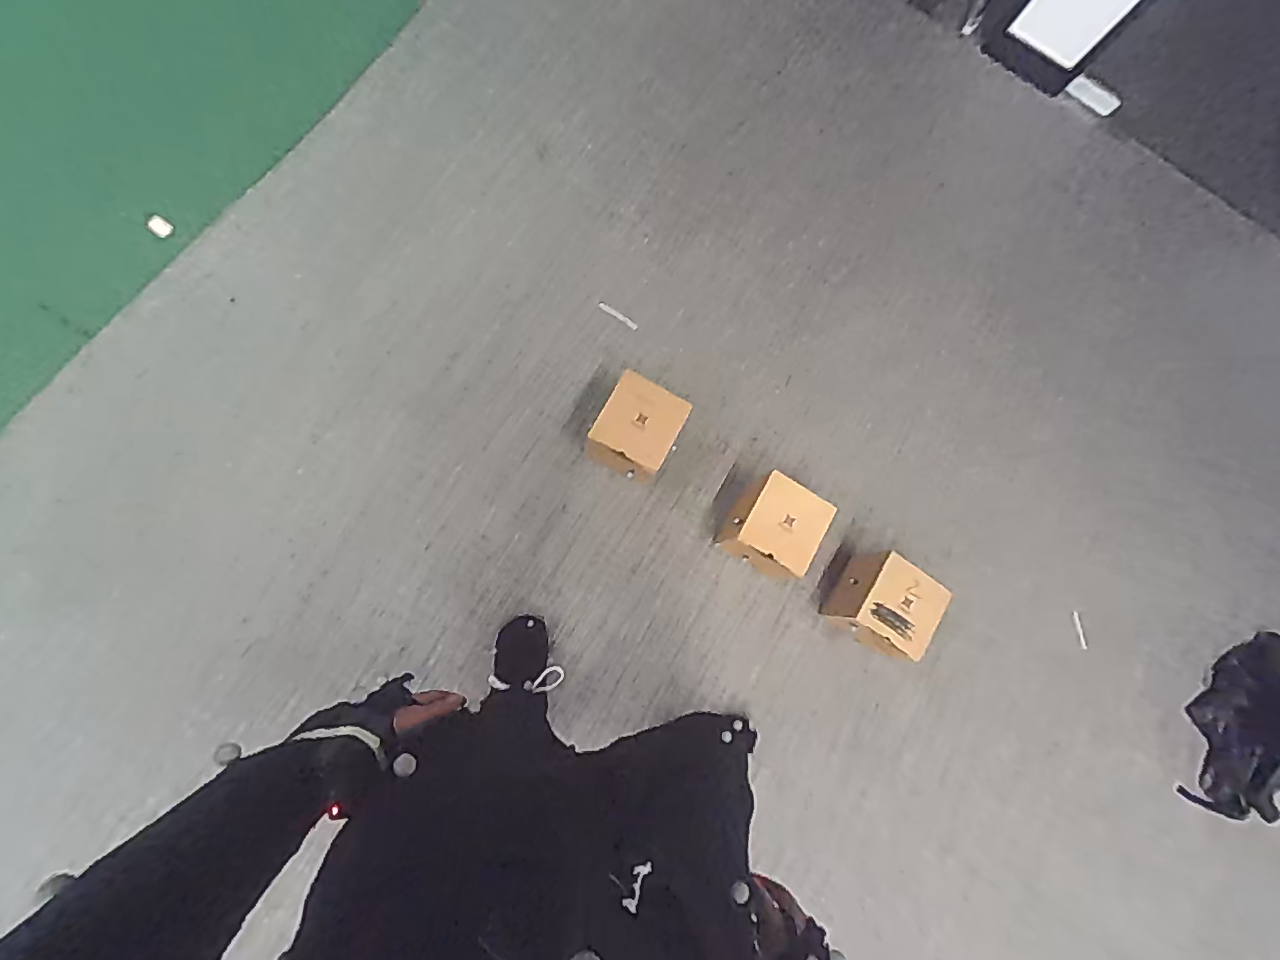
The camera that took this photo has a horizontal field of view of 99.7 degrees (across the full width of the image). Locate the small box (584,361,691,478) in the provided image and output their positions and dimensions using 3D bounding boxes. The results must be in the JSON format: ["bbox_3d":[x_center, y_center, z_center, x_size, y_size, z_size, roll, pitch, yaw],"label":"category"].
[{"bbox_3d":[-0.013,-0.124,1.194,0.168,0.176,0.179,29,76,-4],"label":"small box"}]

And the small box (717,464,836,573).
[{"bbox_3d":[0.295,0.091,1.205,0.168,0.176,0.179,32,77,-3],"label":"small box"}]
